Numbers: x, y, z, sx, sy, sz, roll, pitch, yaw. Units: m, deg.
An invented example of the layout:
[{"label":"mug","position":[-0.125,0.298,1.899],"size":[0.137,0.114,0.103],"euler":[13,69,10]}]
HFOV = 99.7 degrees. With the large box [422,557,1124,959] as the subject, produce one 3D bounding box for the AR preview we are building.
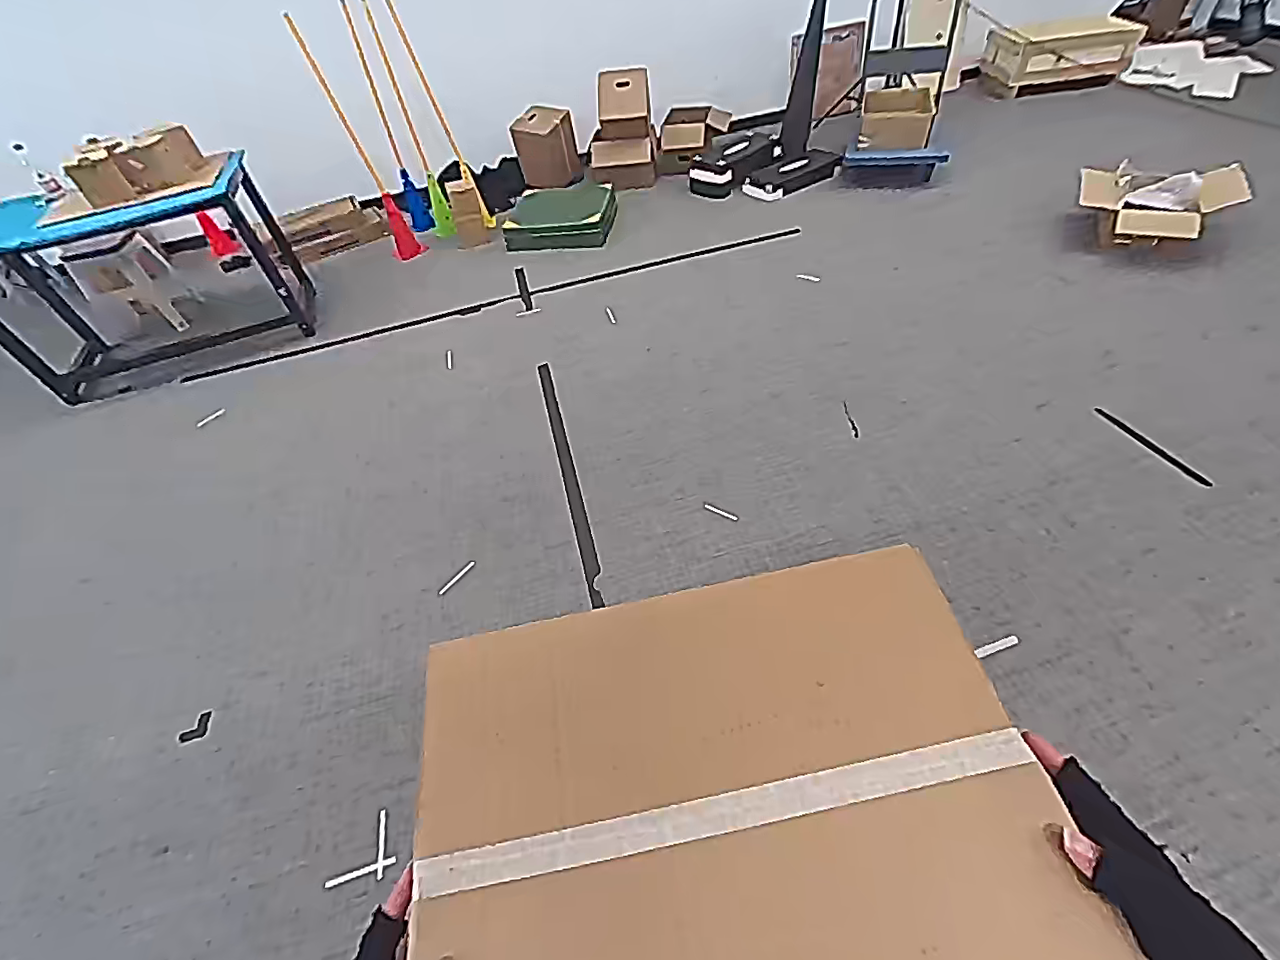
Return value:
[{"label":"large box","position":[0.073,0.311,0.475],"size":[0.408,0.320,0.320],"euler":[-12,52,-1]}]
